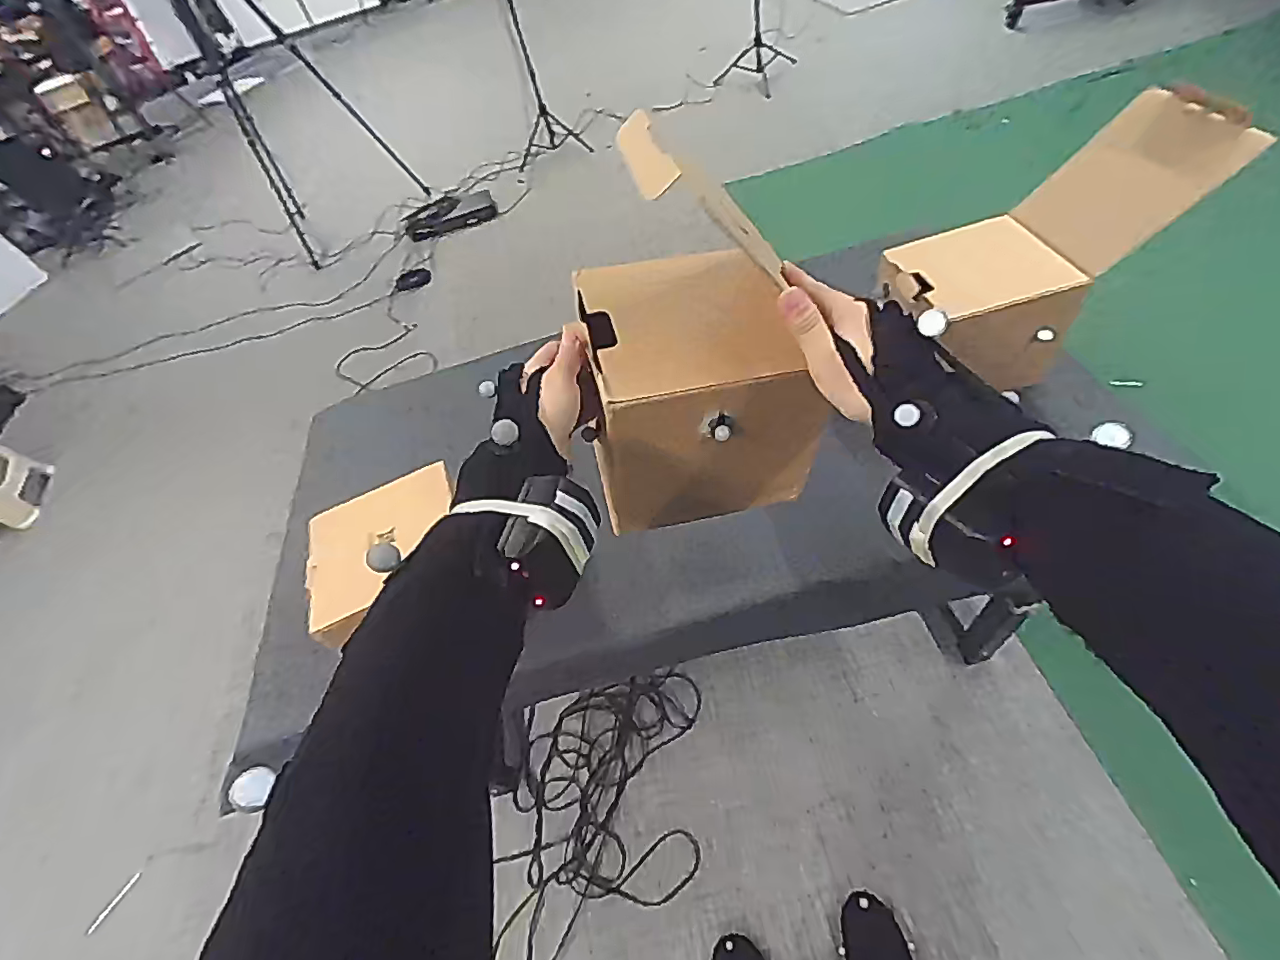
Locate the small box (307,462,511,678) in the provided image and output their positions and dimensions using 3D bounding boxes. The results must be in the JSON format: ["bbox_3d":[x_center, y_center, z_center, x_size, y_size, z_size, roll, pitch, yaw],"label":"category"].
[{"bbox_3d":[-0.276,0.115,0.672,0.179,0.176,0.168,-25,51,-5],"label":"small box"}]
